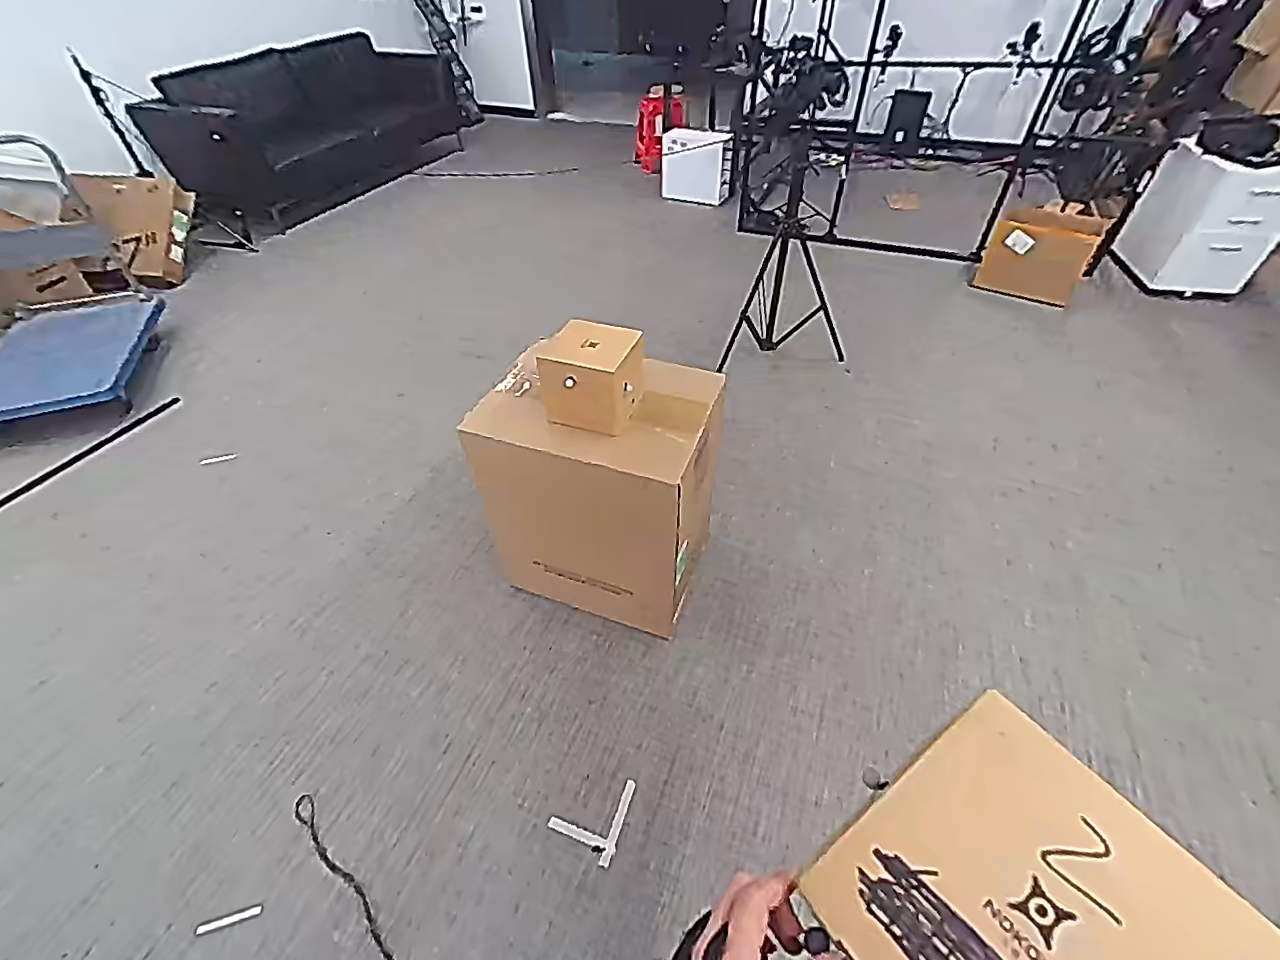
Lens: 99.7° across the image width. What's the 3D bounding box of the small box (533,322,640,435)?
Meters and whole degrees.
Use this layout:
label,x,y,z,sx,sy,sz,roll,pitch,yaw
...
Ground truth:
label,x,y,z,sx,sy,sz,roll,pitch,yaw
small box,-0.106,-0.220,1.183,0.179,0.176,0.168,14,47,16
